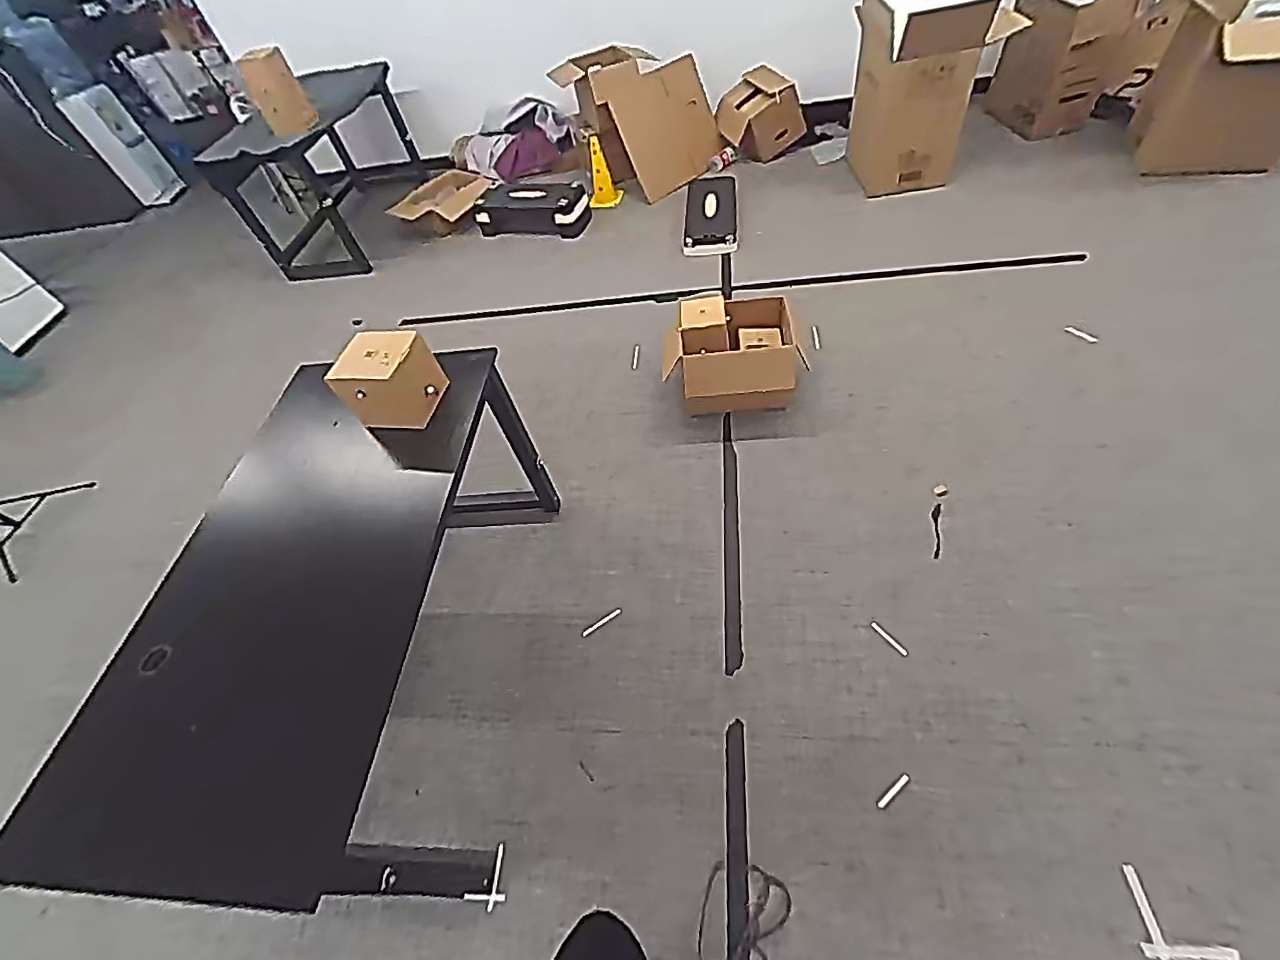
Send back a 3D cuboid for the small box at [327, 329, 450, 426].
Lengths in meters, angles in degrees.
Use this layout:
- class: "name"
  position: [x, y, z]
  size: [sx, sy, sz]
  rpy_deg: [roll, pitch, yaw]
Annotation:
- class: "small box"
  position: [-0.600, -0.247, 1.313]
  size: [0.179, 0.176, 0.168]
  rpy_deg: [4, 55, 14]
